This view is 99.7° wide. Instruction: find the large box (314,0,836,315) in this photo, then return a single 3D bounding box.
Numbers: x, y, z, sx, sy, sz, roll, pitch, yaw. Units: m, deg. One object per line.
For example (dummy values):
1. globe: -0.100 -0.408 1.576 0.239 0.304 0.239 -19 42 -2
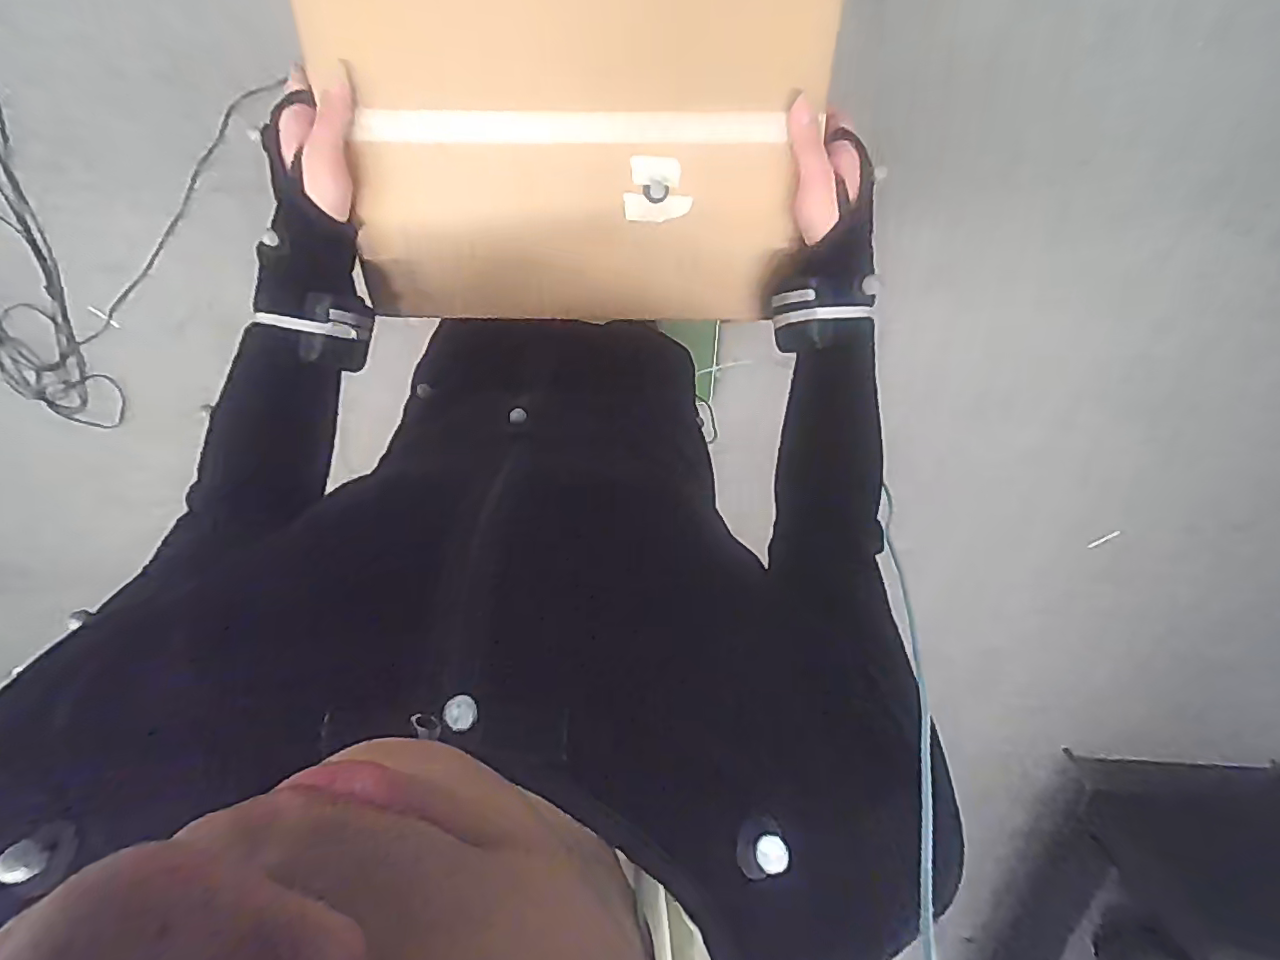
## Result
1. large box: -0.052 -0.374 0.578 0.408 0.320 0.320 -1 122 -2
